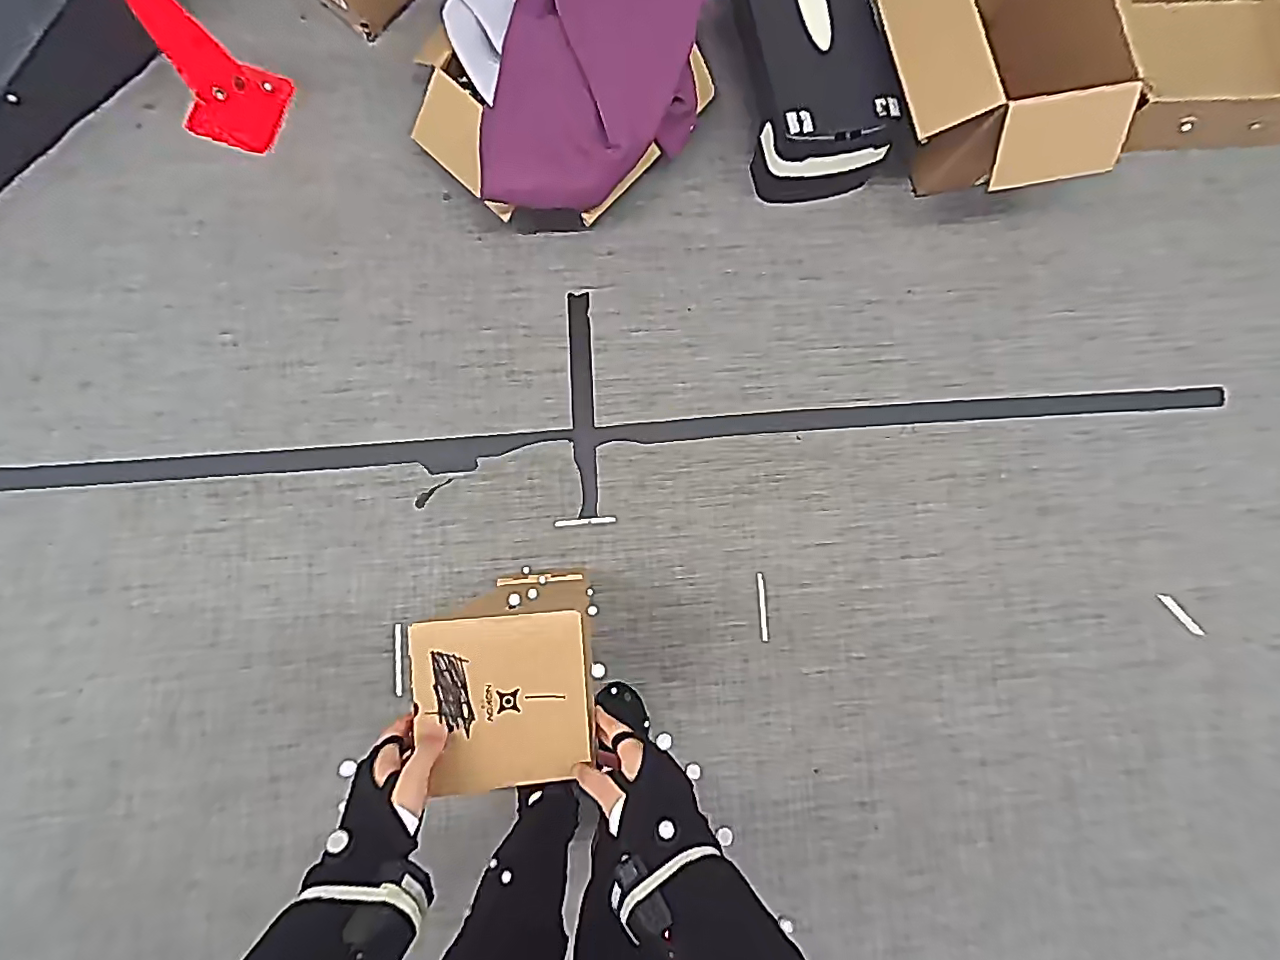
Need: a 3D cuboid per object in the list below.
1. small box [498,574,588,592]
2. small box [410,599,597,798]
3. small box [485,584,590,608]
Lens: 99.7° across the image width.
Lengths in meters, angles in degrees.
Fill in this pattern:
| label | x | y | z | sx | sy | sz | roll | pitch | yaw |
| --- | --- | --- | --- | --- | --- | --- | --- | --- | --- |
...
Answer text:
| label | x | y | z | sx | sy | sz | roll | pitch | yaw |
| --- | --- | --- | --- | --- | --- | --- | --- | --- | --- |
| small box | -0.190 | 0.285 | 1.105 | 0.168 | 0.176 | 0.179 | -4 | 85 | -3 |
| small box | -0.142 | 0.232 | 0.616 | 0.179 | 0.176 | 0.168 | -4 | 84 | -4 |
| small box | -0.171 | 0.276 | 0.941 | 0.168 | 0.176 | 0.179 | -3 | 84 | -3 |
